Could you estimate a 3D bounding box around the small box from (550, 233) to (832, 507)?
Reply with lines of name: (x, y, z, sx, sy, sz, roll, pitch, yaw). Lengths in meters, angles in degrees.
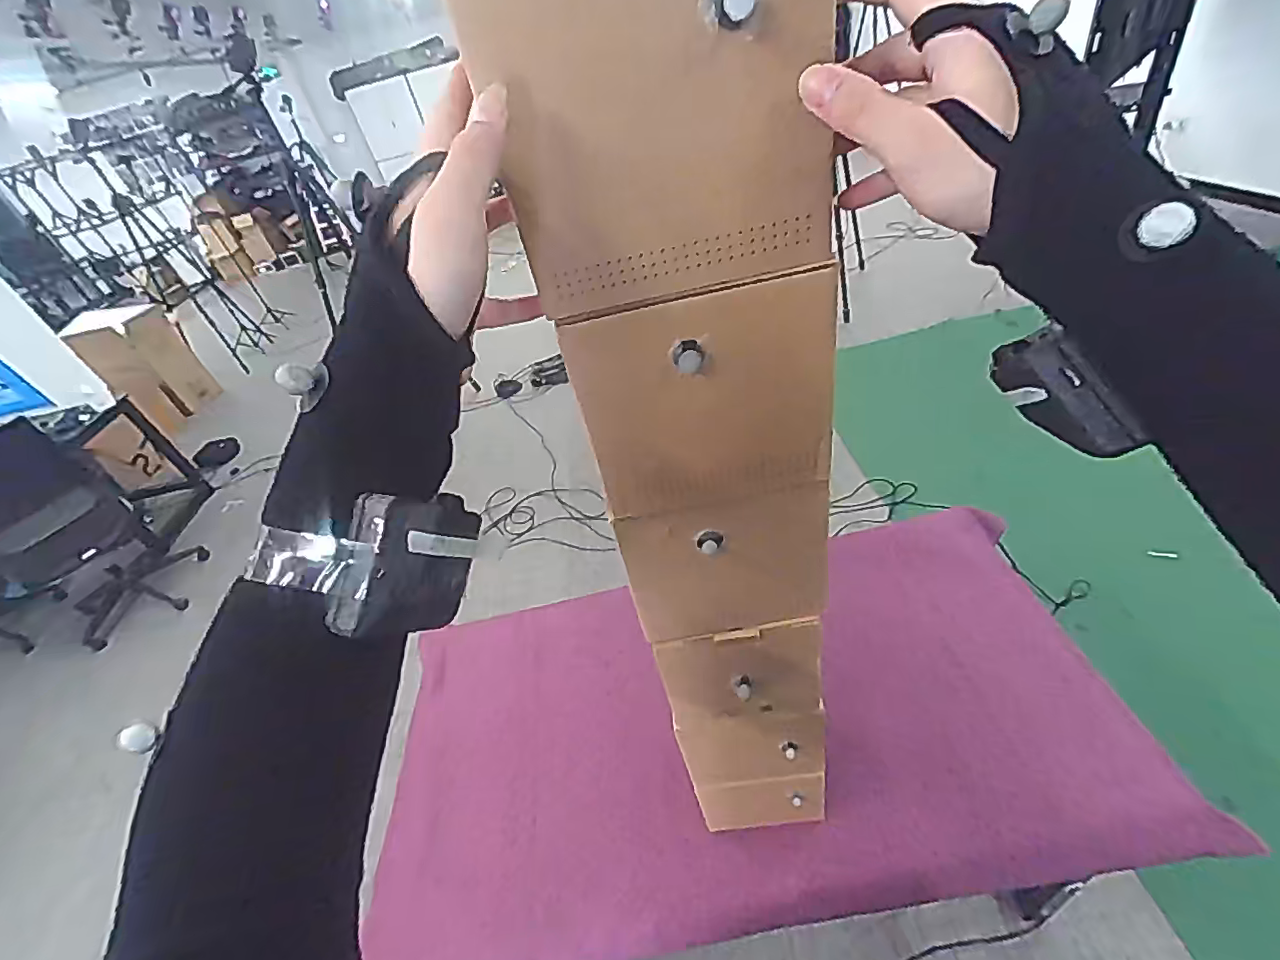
small box: (0.041, -0.101, 0.435, 0.179, 0.176, 0.168, -12, 38, 6)

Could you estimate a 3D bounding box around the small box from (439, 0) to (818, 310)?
small box: (0.004, -0.228, 0.339, 0.179, 0.176, 0.168, -11, 38, 6)

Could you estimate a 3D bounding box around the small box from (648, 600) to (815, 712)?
small box: (0.103, 0.152, 0.633, 0.168, 0.176, 0.179, -10, 39, 6)

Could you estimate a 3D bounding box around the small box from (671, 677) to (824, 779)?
small box: (0.137, 0.279, 0.729, 0.179, 0.176, 0.168, -11, 38, 7)

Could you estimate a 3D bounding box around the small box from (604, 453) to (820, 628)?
small box: (0.069, 0.025, 0.534, 0.179, 0.176, 0.168, -11, 38, 4)
